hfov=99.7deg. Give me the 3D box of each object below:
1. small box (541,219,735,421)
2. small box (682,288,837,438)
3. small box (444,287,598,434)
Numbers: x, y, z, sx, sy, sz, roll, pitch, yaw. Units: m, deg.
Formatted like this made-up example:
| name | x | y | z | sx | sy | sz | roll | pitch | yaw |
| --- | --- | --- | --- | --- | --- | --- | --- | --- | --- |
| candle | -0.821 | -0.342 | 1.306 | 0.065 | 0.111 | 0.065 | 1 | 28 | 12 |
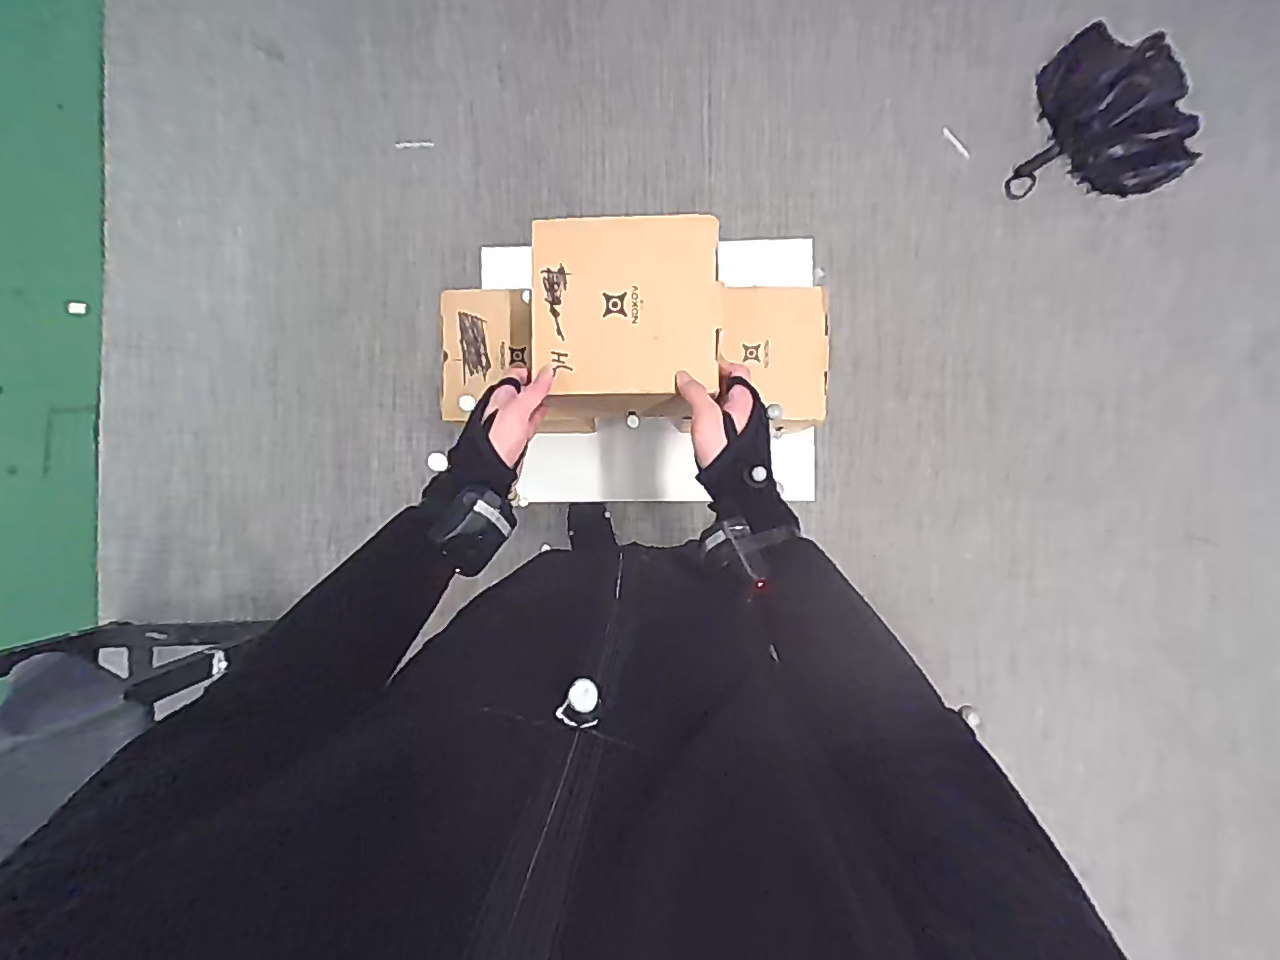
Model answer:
| name | x | y | z | sx | sy | sz | roll | pitch | yaw |
| --- | --- | --- | --- | --- | --- | --- | --- | --- | --- |
| small box | -0.002 | -0.154 | 0.570 | 0.179 | 0.176 | 0.168 | 0 | 90 | 1 |
| small box | 0.150 | -0.147 | 0.730 | 0.179 | 0.176 | 0.168 | 1 | 89 | 3 |
| small box | -0.150 | -0.151 | 0.735 | 0.179 | 0.176 | 0.168 | 0 | 90 | 0 |
